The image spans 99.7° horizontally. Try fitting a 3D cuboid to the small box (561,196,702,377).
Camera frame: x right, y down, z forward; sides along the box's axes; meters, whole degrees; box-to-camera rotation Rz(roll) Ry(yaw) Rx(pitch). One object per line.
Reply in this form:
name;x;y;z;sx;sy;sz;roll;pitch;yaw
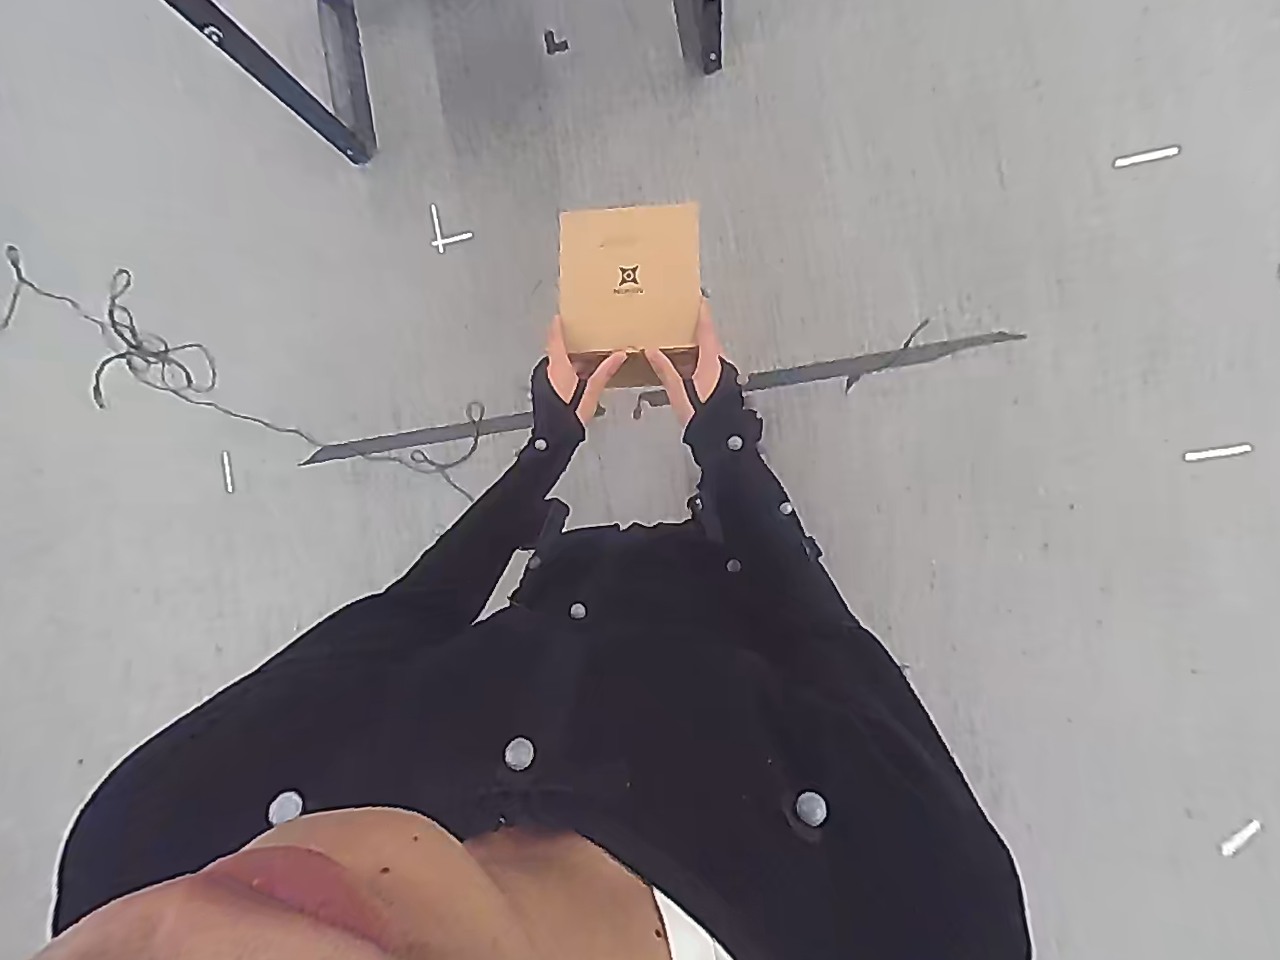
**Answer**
small box;-0.003;-0.235;0.704;0.168;0.176;0.179;-1;87;5
